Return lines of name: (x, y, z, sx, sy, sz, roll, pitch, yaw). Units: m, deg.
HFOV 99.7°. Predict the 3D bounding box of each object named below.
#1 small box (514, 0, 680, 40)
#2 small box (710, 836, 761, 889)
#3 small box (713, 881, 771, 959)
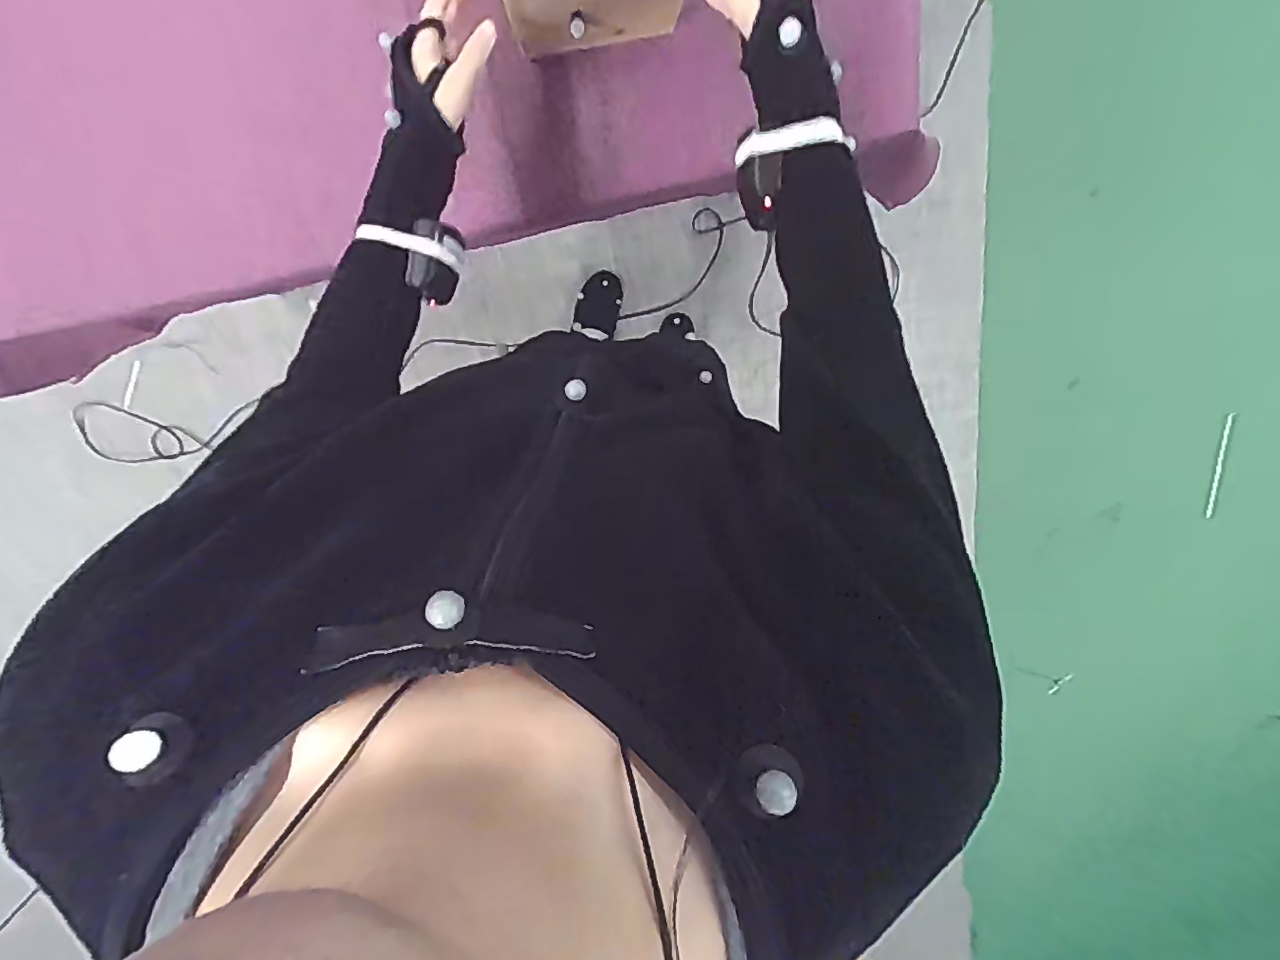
small box: (-0.047, -0.525, 0.476, 0.168, 0.176, 0.179, -11, 113, 1)
small box: (0.382, 1.584, 2.184, 0.168, 0.176, 0.179, -5, 112, -3)
small box: (0.378, 1.646, 2.030, 0.179, 0.176, 0.168, -5, 112, -4)
